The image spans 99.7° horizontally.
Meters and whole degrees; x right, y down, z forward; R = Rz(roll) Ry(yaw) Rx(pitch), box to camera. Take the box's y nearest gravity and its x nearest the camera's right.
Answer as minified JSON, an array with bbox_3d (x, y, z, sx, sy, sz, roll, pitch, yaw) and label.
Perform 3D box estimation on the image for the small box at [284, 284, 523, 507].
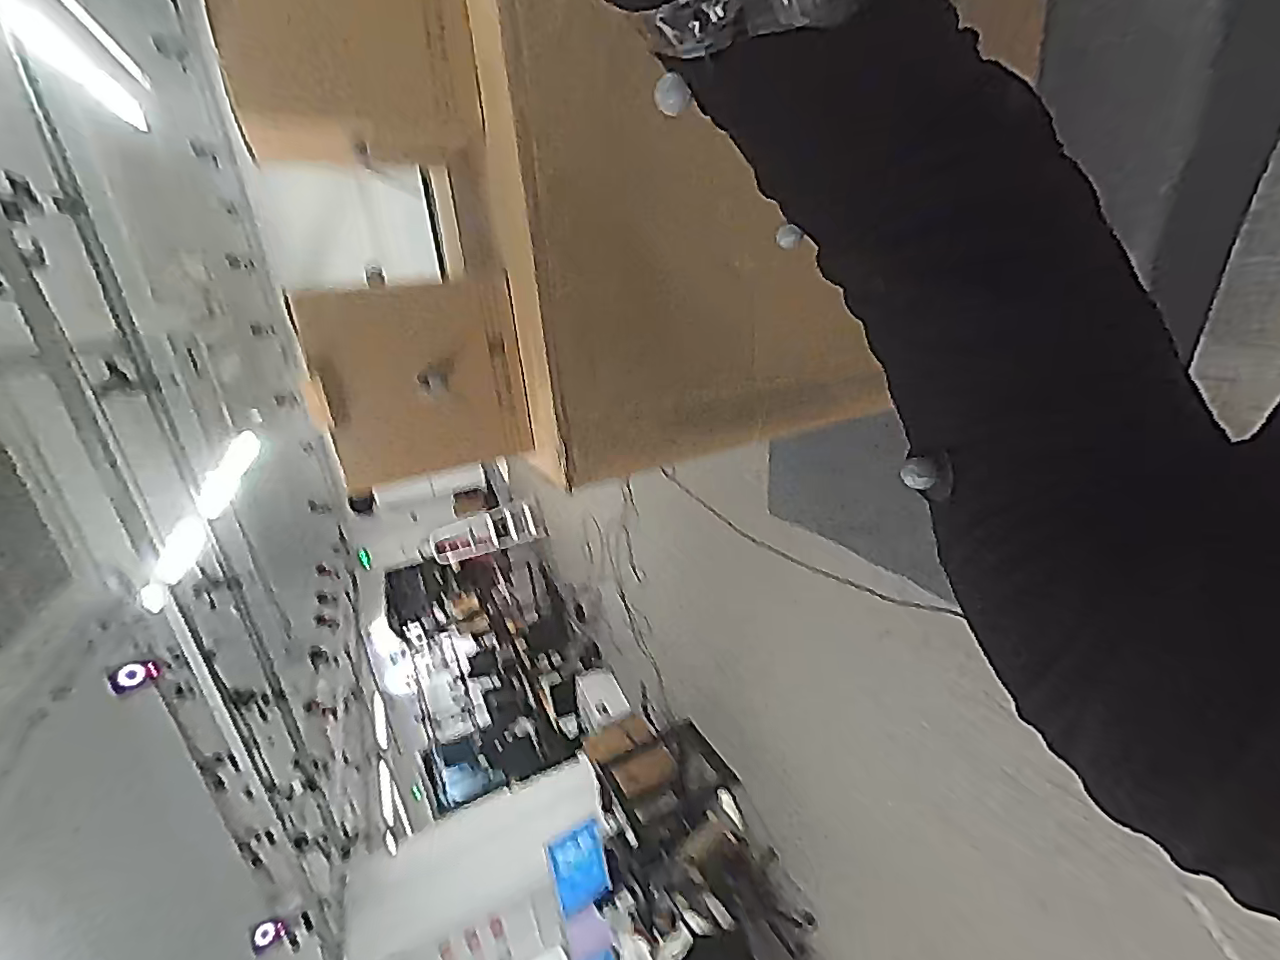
[{"bbox_3d":[-0.222,-0.095,0.527,0.179,0.176,0.168,27,128,55],"label":"small box"}]

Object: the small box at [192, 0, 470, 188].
[{"bbox_3d":[-0.243,-0.342,0.434,0.179,0.176,0.168,28,127,57],"label":"small box"}]
